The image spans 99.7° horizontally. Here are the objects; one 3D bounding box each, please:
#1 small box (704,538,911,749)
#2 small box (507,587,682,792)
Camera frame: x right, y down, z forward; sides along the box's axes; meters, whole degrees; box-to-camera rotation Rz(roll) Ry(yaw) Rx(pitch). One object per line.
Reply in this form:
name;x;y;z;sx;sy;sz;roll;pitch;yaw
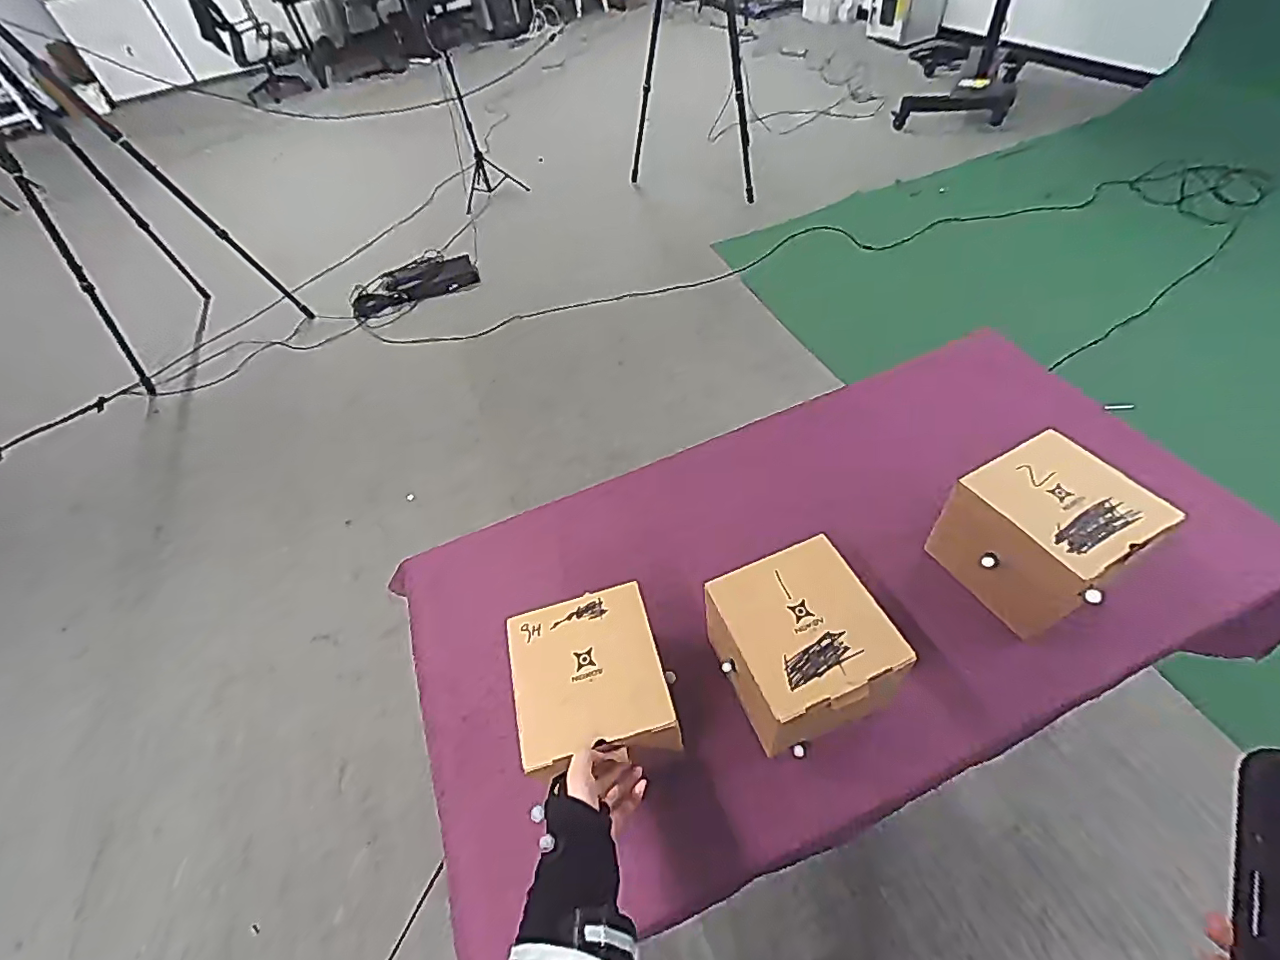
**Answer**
small box;0.192;0.209;0.668;0.168;0.176;0.179;-21;50;-8
small box;-0.052;0.264;0.664;0.168;0.176;0.179;-16;51;-4
